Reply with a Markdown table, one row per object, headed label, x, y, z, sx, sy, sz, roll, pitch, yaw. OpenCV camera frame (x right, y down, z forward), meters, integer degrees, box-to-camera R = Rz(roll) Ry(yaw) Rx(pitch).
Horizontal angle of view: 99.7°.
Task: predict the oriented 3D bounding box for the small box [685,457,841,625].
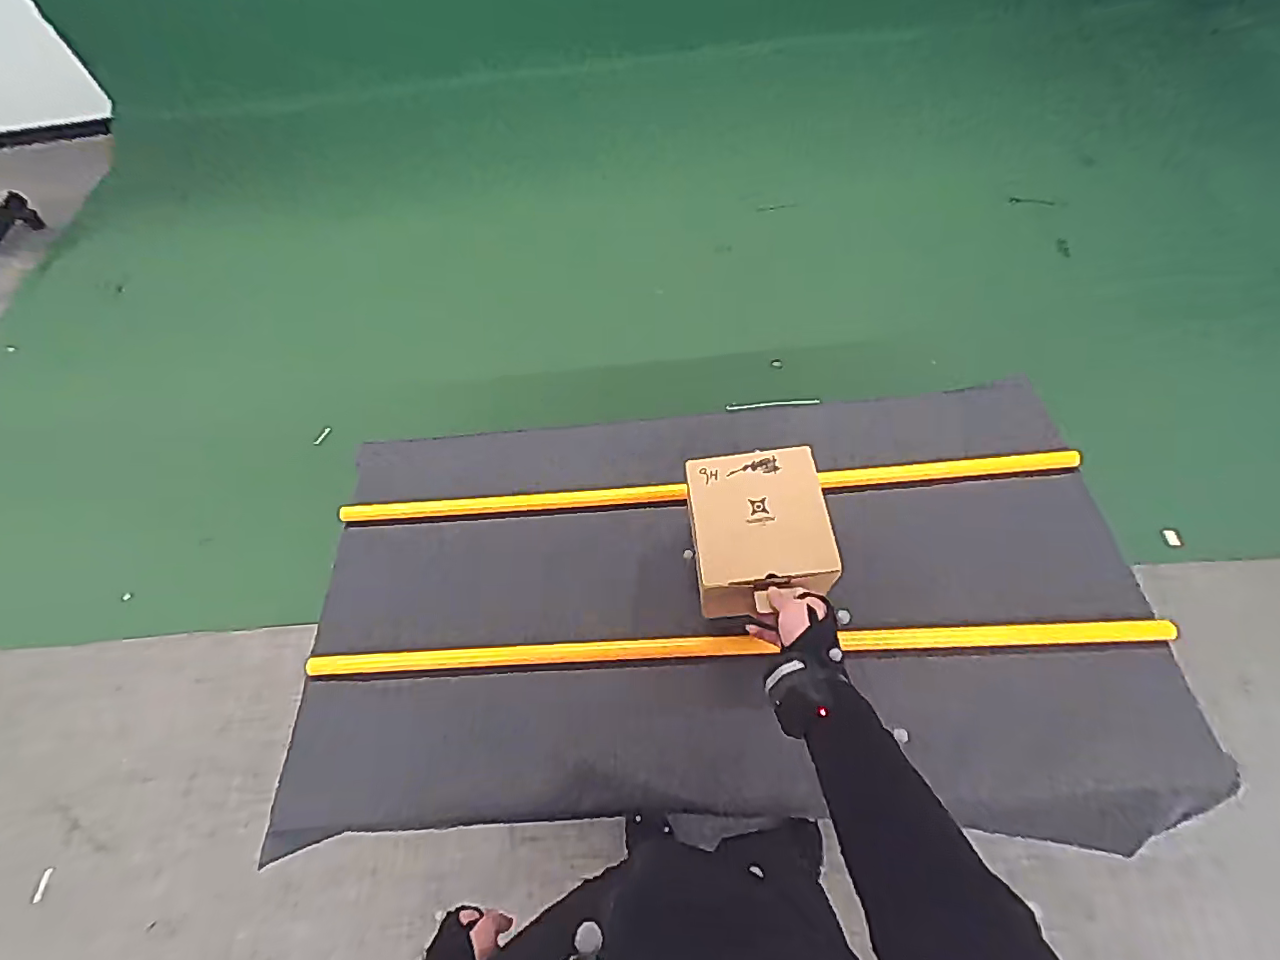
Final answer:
| label | x | y | z | sx | sy | sz | roll | pitch | yaw |
| --- | --- | --- | --- | --- | --- | --- | --- | --- | --- |
| small box | 0.161 | 0.094 | 0.749 | 0.168 | 0.176 | 0.179 | -10 | 61 | 4 |
